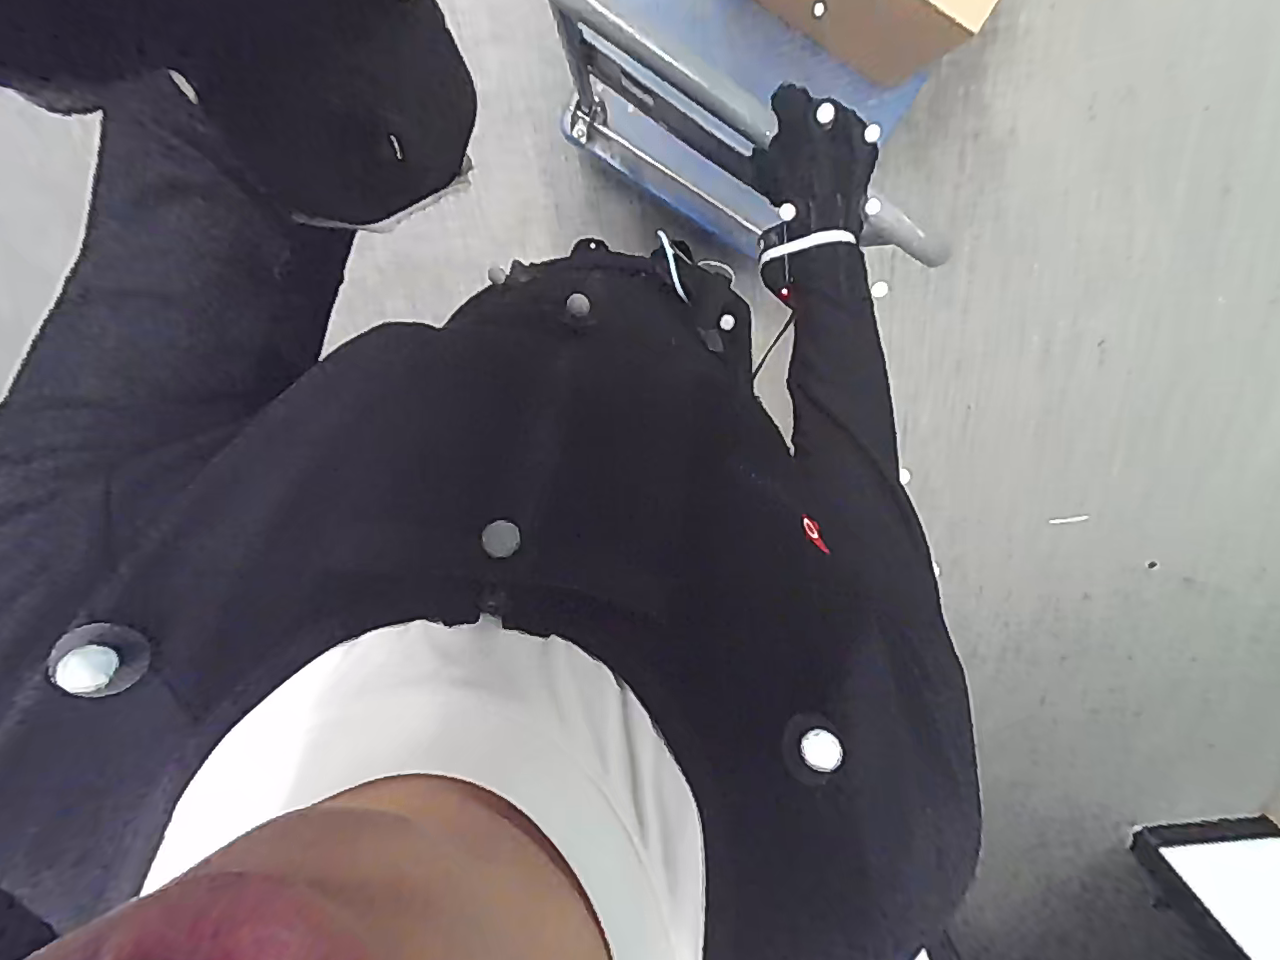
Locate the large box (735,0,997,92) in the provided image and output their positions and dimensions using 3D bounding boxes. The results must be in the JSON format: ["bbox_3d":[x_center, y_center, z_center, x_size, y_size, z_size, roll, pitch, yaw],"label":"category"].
[{"bbox_3d":[0.355,-0.871,0.804,0.408,0.320,0.320,25,111,-9],"label":"large box"}]
